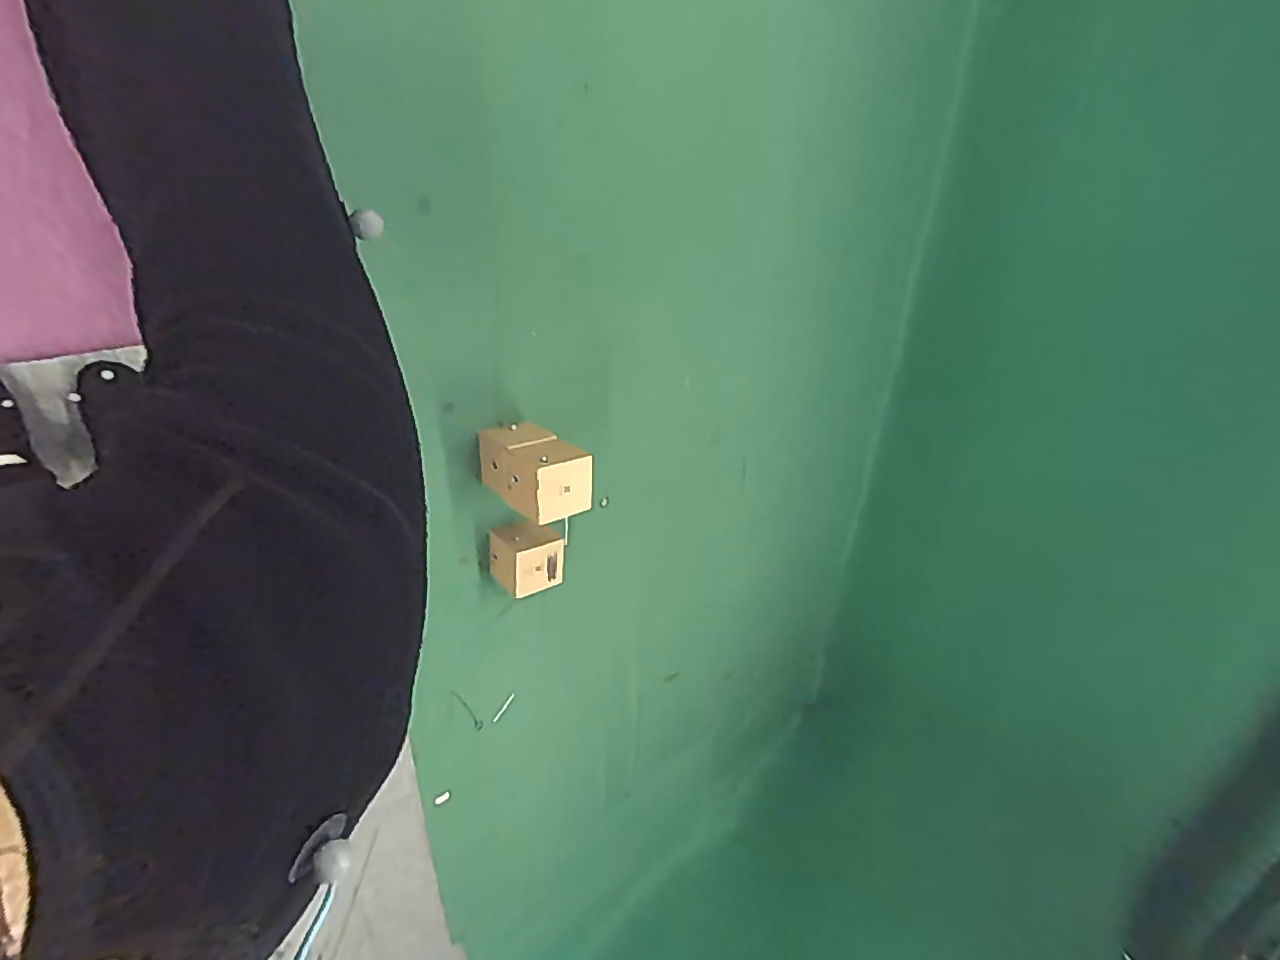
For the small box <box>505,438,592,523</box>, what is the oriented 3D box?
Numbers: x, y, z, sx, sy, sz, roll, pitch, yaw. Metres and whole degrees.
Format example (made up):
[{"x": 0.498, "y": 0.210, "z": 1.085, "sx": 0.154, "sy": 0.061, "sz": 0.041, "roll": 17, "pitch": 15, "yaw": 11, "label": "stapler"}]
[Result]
[{"x": -0.253, "y": -0.007, "z": 1.494, "sx": 0.179, "sy": 0.176, "sz": 0.168, "roll": -17, "pitch": 121, "yaw": -39, "label": "small box"}]

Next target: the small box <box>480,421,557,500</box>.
[{"x": -0.360, "y": -0.062, "z": 1.603, "sx": 0.168, "sy": 0.176, "sz": 0.179, "roll": -18, "pitch": 121, "yaw": -39, "label": "small box"}]
